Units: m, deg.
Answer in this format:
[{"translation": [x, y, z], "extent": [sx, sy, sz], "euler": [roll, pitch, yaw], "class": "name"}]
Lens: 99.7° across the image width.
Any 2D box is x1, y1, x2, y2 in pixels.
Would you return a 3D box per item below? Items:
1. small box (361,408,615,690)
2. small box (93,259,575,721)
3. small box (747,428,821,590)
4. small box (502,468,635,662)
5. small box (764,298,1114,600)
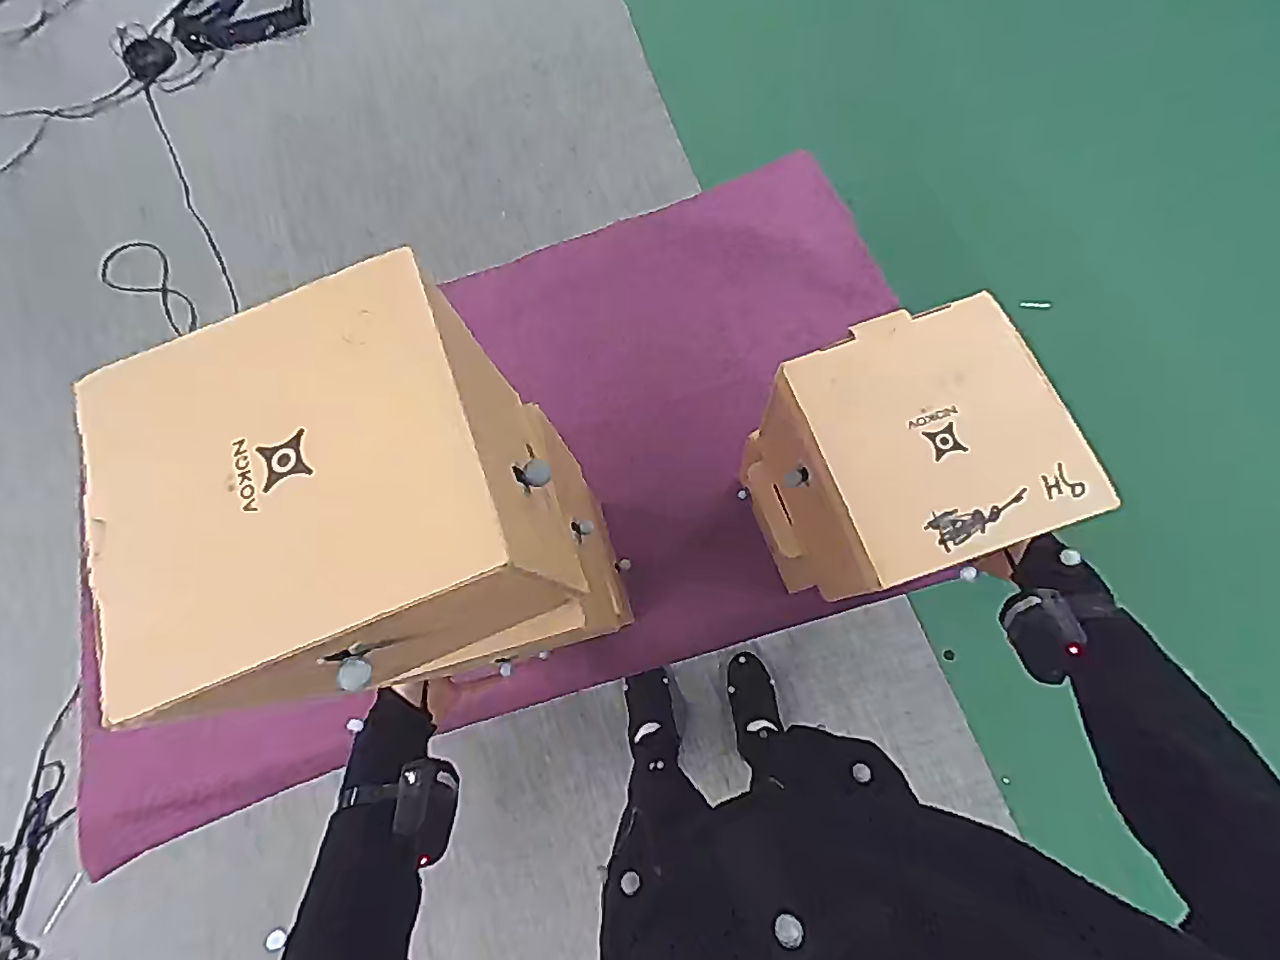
[{"translation": [-0.126, 0.066, 0.471], "extent": [0.168, 0.176, 0.179], "euler": [-16, 73, 2], "class": "small box"}, {"translation": [-0.149, 0.015, 0.318], "extent": [0.179, 0.176, 0.168], "euler": [-23, 73, 0], "class": "small box"}, {"translation": [0.230, 0.018, 0.615], "extent": [0.179, 0.176, 0.168], "euler": [-21, 73, 0], "class": "small box"}, {"translation": [-0.116, 0.109, 0.629], "extent": [0.179, 0.176, 0.168], "euler": [-18, 72, 0], "class": "small box"}, {"translation": [0.215, -0.011, 0.453], "extent": [0.168, 0.176, 0.179], "euler": [-19, 72, 1], "class": "small box"}]
